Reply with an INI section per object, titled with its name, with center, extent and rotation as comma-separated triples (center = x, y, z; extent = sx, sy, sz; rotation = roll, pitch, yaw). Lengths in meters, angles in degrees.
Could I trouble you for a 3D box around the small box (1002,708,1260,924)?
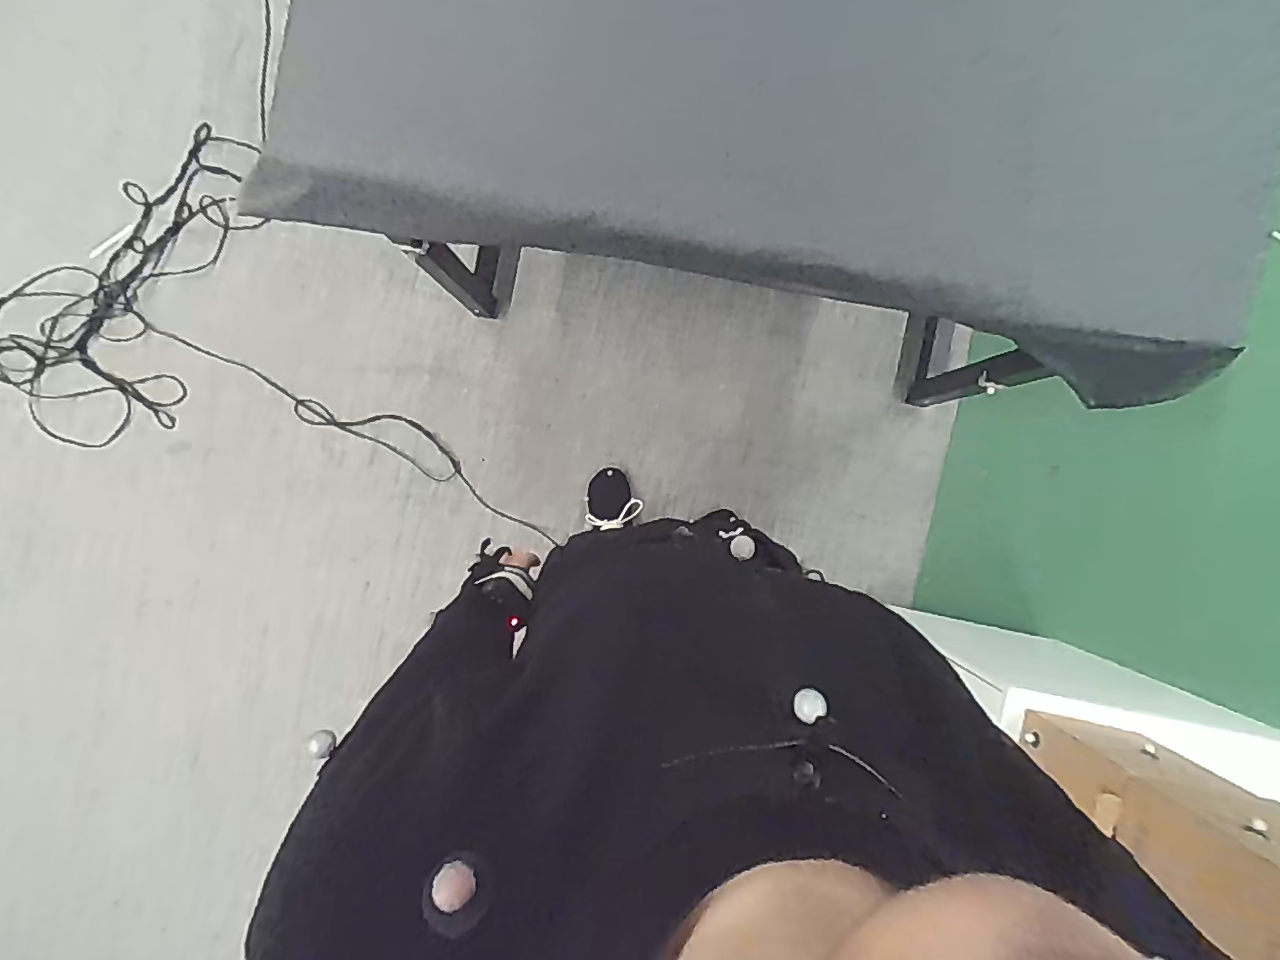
[small box]
center = 0.626, 0.425, 0.715
extent = 0.179, 0.176, 0.168
rotation = 12, 92, -2
